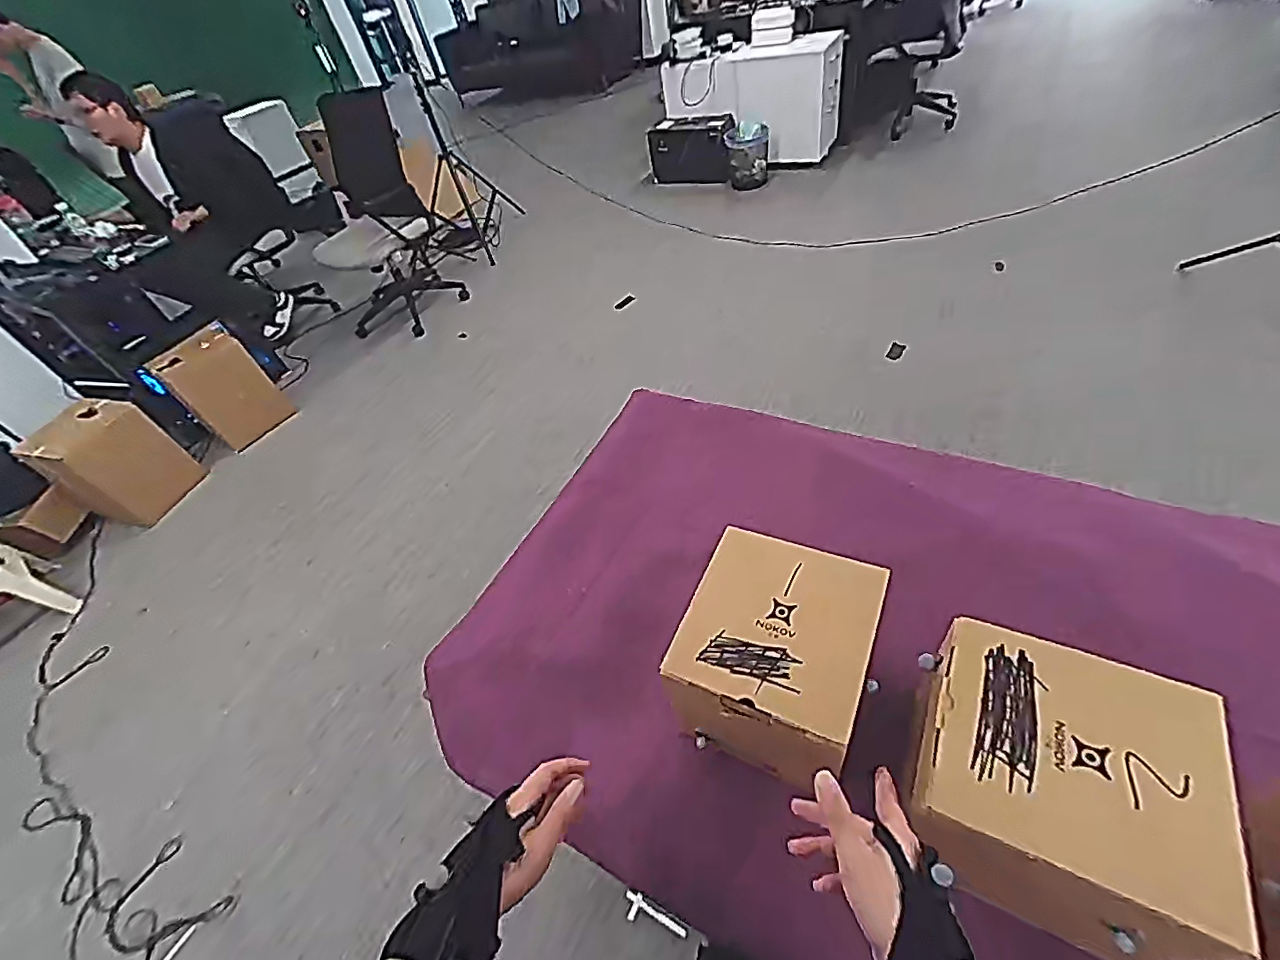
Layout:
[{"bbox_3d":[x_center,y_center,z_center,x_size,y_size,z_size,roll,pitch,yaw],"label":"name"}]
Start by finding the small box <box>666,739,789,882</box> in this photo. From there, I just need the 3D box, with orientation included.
[{"bbox_3d":[0.171,0.615,1.004,0.179,0.176,0.168,11,54,24],"label":"small box"}]
